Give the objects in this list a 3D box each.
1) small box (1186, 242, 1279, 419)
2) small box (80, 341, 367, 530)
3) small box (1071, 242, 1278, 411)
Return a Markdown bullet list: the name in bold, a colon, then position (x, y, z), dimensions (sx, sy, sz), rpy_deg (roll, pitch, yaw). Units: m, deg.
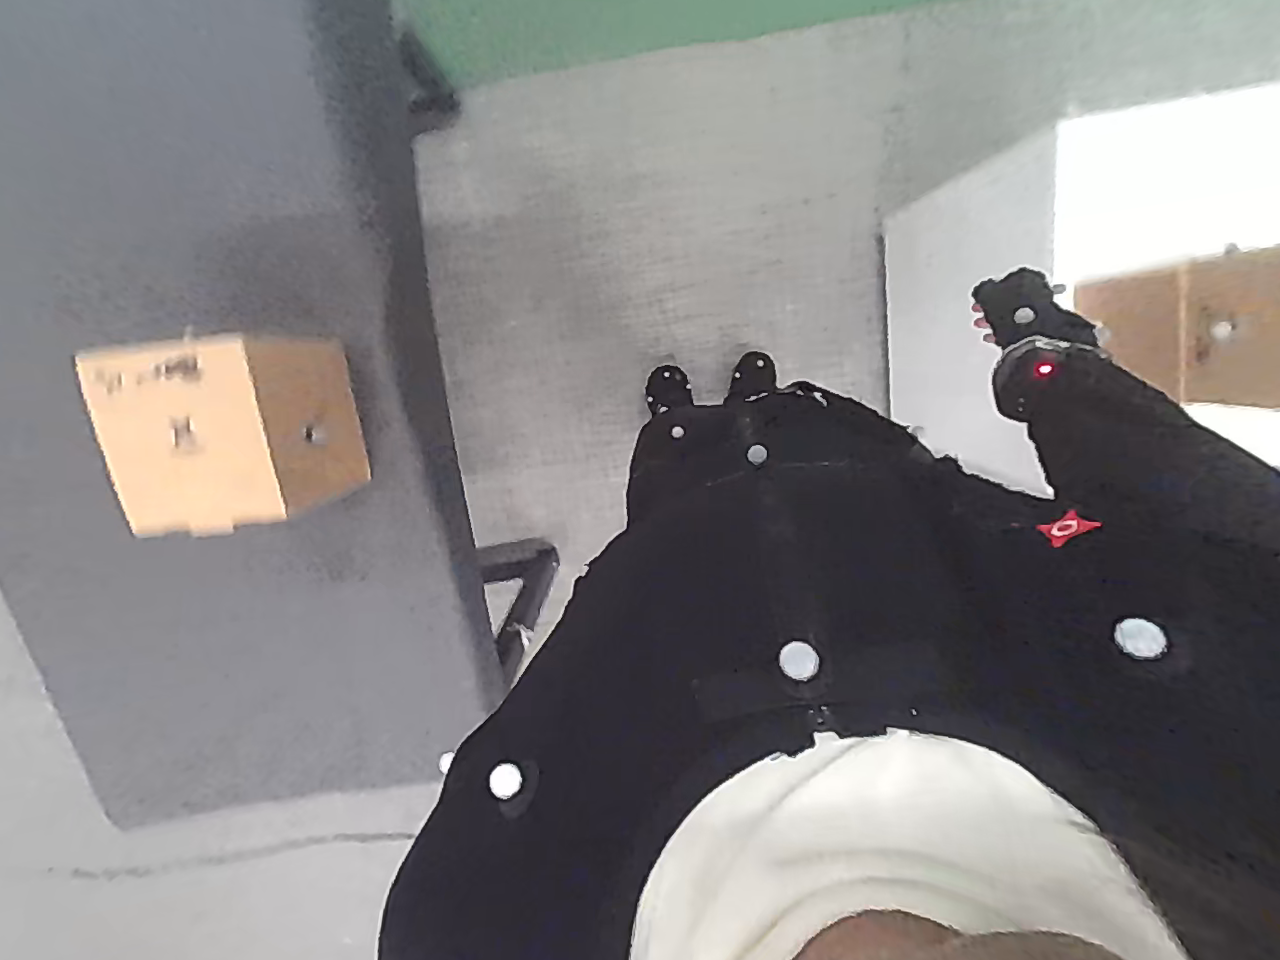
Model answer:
- **small box**: position (0.696, -0.158, 0.521), dimensions (0.179, 0.176, 0.168), rpy_deg (-15, 103, 3)
- **small box**: position (-0.436, -0.058, 0.603), dimensions (0.168, 0.176, 0.179), rpy_deg (-6, 104, 4)
- **small box**: position (0.695, -0.193, 0.681), dimensions (0.179, 0.176, 0.168), rpy_deg (-12, 102, 6)
